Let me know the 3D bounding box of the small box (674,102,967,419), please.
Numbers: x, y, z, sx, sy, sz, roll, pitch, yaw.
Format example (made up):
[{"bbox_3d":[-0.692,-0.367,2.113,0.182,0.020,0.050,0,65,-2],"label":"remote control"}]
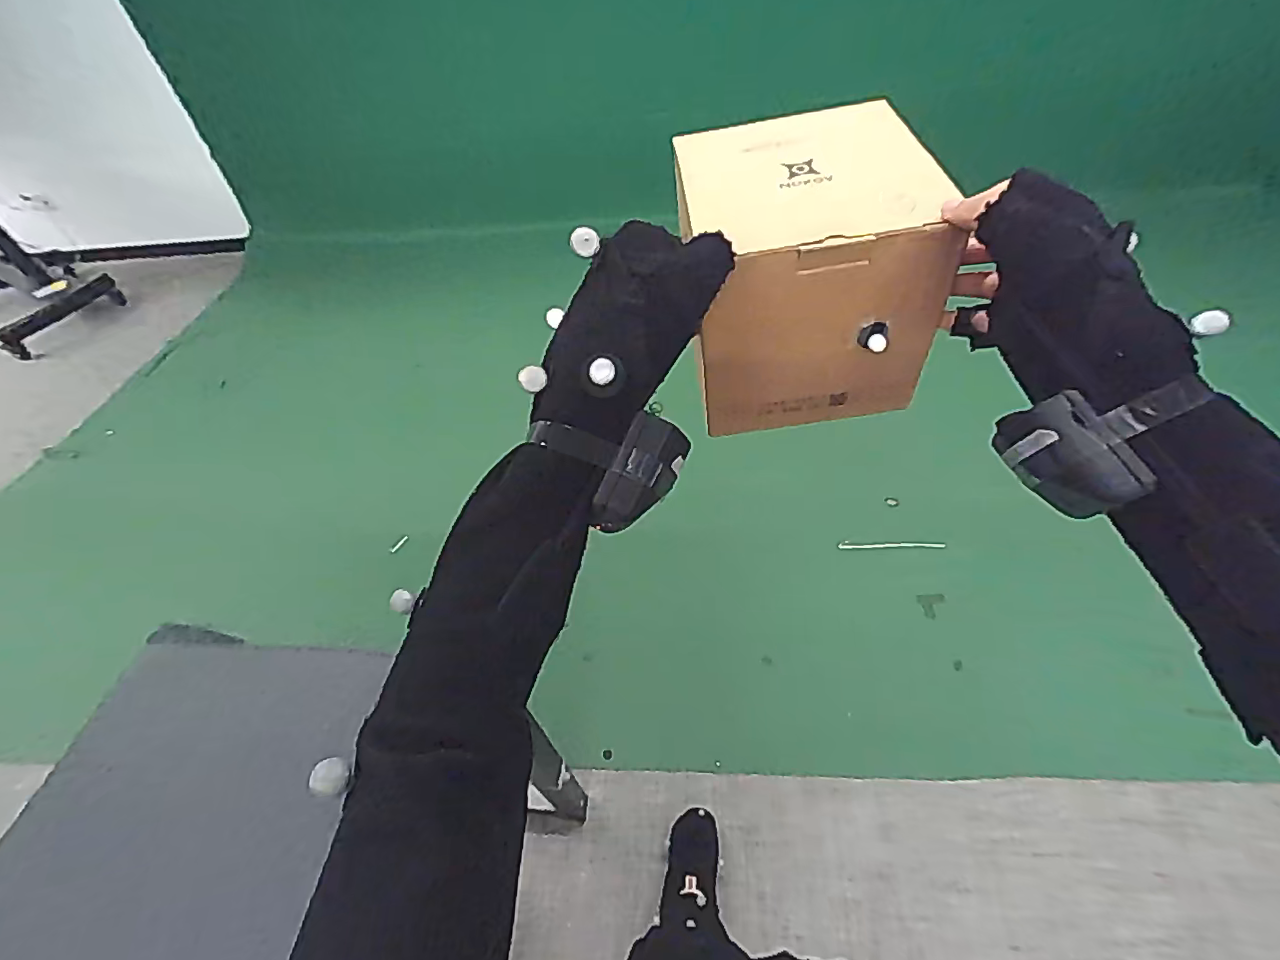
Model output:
[{"bbox_3d":[0.122,-0.164,0.438,0.168,0.176,0.179,-7,54,4],"label":"small box"}]
